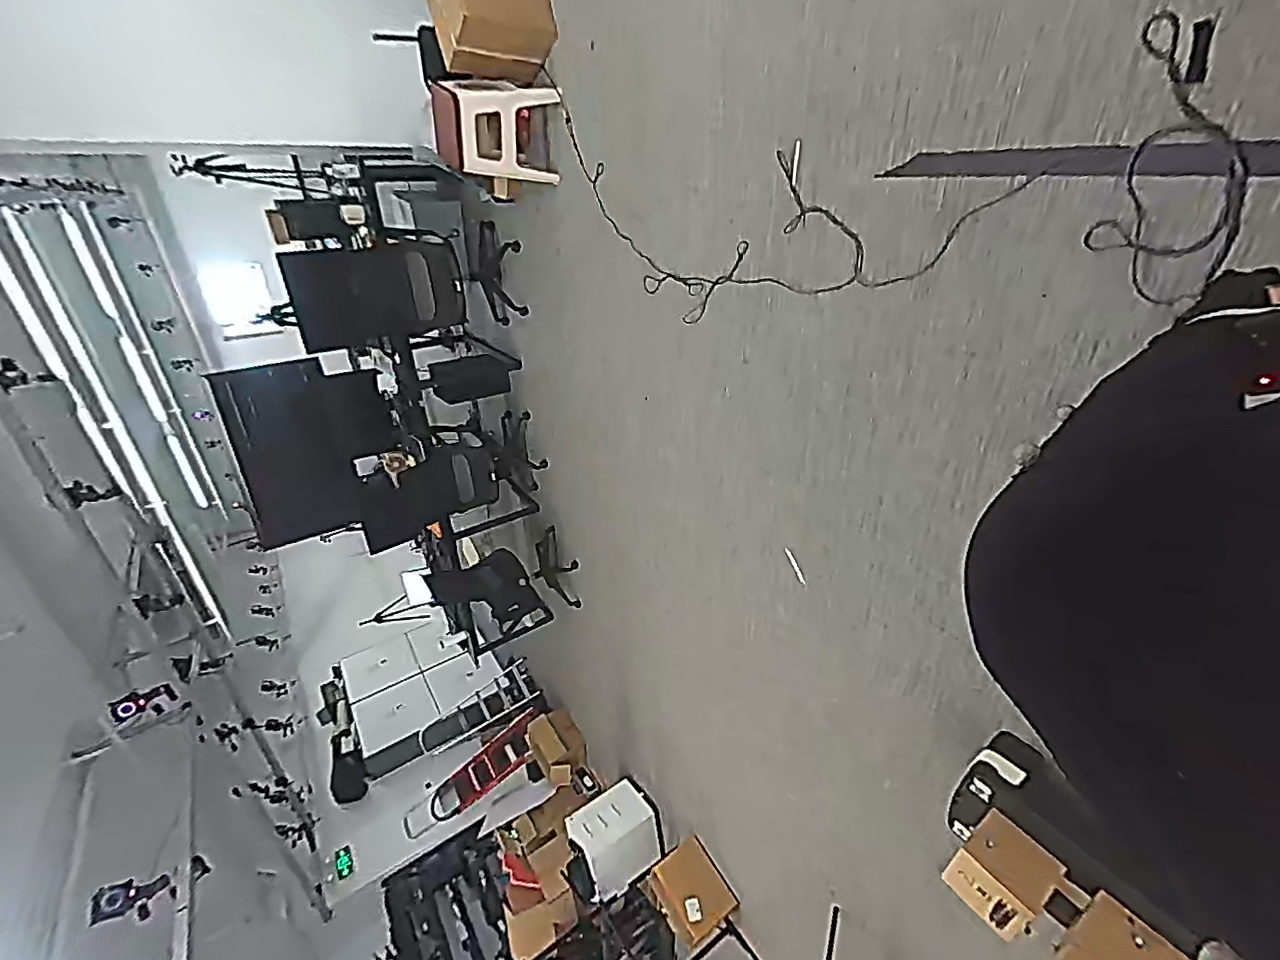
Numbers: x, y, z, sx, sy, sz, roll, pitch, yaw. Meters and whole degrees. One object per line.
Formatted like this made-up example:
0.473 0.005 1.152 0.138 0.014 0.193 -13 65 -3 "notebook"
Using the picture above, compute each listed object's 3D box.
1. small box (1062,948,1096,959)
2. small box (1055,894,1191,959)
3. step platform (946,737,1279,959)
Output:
0.908 1.114 1.091 0.168 0.176 0.179 35 135 46 "small box"
1.041 1.062 1.171 0.168 0.176 0.179 35 135 45 "small box"
1.136 0.994 1.326 0.684 0.204 0.286 33 134 46 "step platform"
